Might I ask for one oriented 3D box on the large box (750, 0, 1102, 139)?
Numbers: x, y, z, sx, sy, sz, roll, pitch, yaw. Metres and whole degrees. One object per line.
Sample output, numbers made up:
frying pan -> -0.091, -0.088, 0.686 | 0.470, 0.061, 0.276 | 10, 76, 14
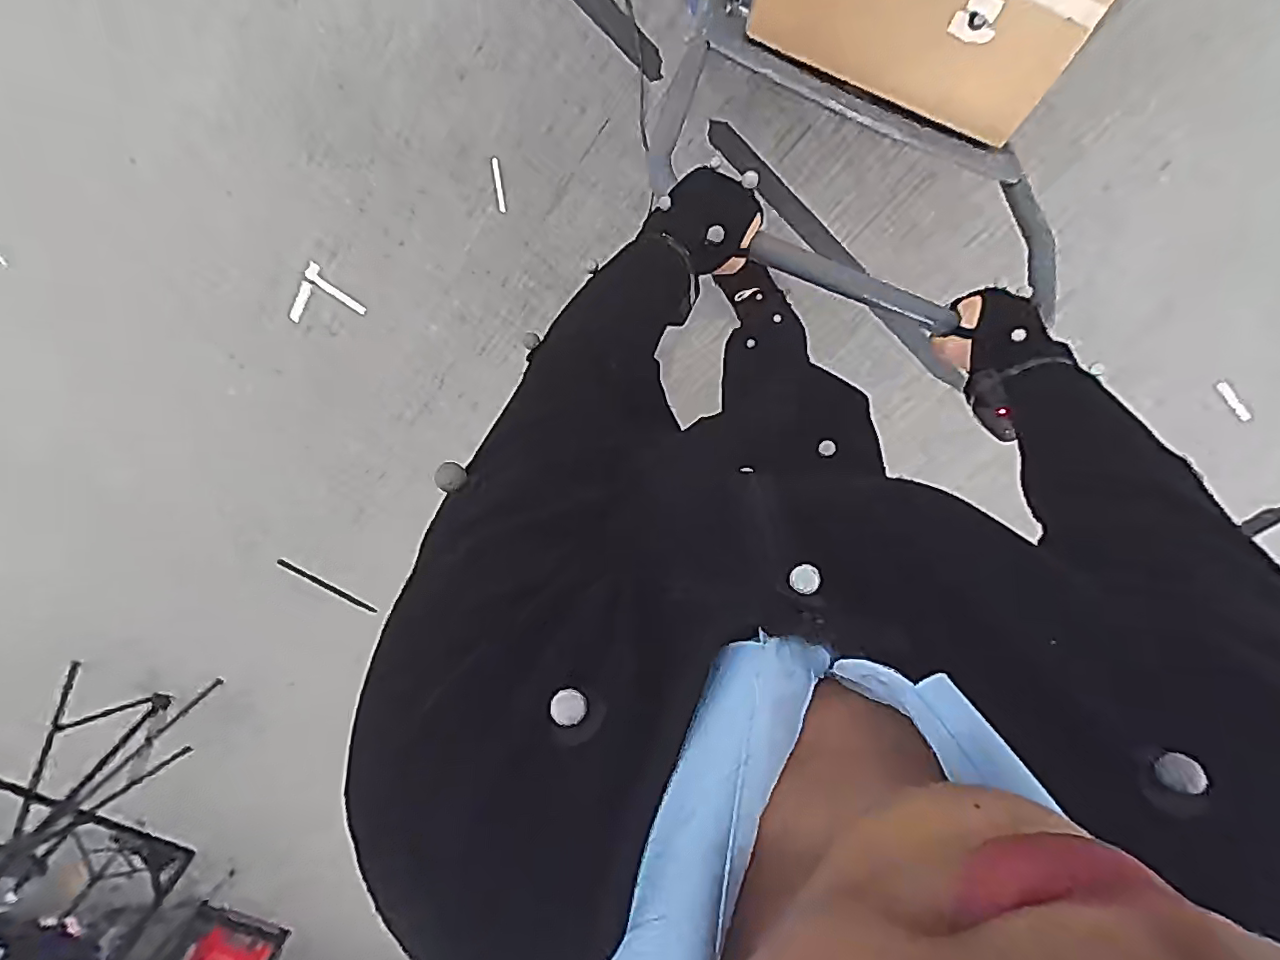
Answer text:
large box -> 0.400, -0.754, 0.746 | 0.408, 0.320, 0.320 | 18, 141, -7
